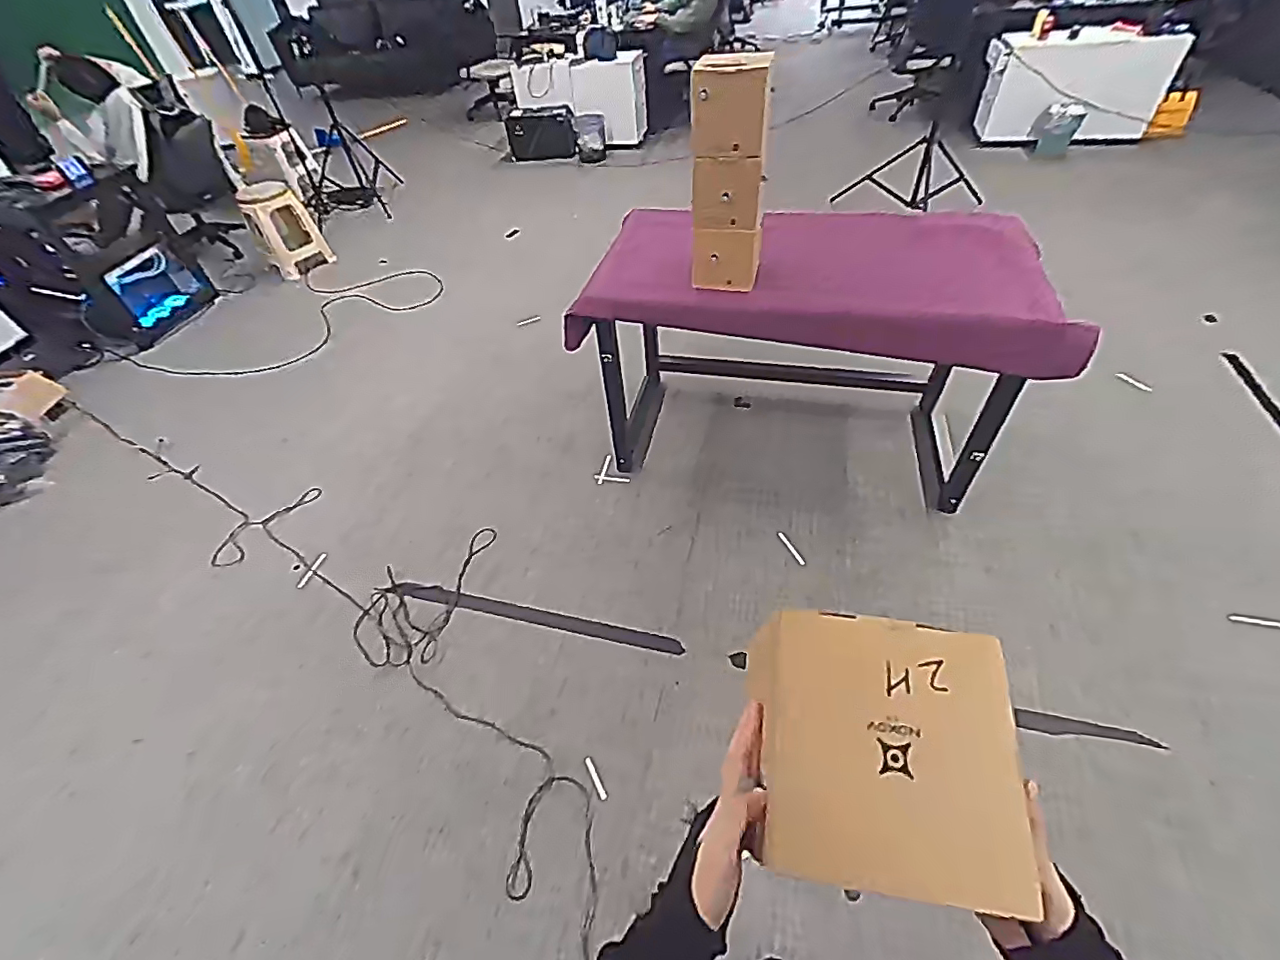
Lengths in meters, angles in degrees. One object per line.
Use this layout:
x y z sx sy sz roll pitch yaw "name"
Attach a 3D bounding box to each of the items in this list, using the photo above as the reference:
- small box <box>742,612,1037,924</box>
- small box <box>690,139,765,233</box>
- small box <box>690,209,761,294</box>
0.180 0.226 0.449 0.168 0.176 0.179 6 62 5 "small box"
0.224 -0.748 1.380 0.168 0.176 0.179 7 48 11 "small box"
0.236 -0.632 1.495 0.168 0.176 0.179 9 48 13 "small box"
